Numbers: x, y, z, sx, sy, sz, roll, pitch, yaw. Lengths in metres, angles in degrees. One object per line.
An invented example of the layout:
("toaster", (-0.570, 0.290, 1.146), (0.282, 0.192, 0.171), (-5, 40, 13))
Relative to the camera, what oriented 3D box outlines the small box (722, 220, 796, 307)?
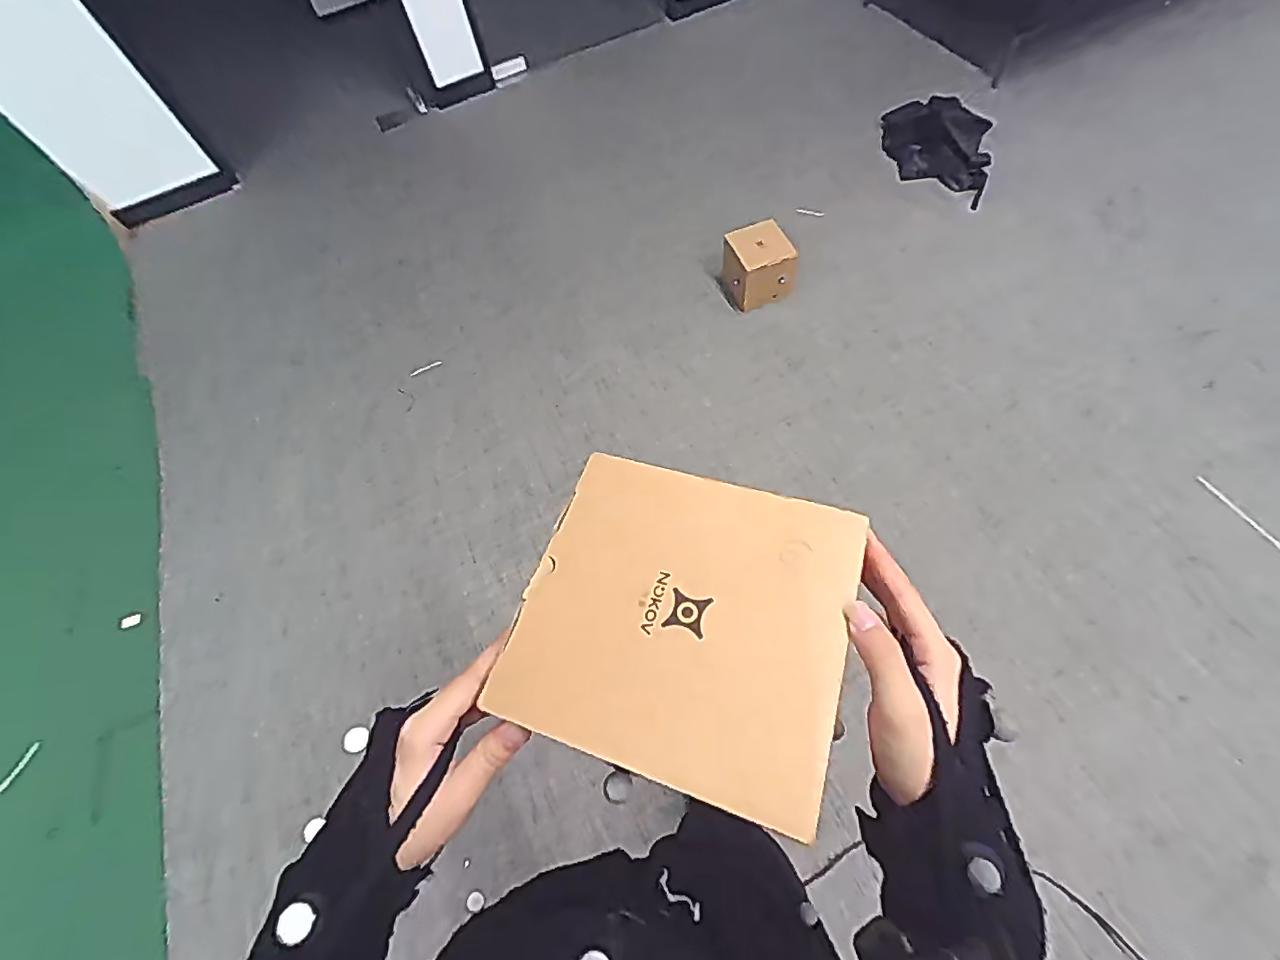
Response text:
("small box", (0.365, -0.665, 1.682), (0.168, 0.176, 0.179), (-19, 62, -5))
